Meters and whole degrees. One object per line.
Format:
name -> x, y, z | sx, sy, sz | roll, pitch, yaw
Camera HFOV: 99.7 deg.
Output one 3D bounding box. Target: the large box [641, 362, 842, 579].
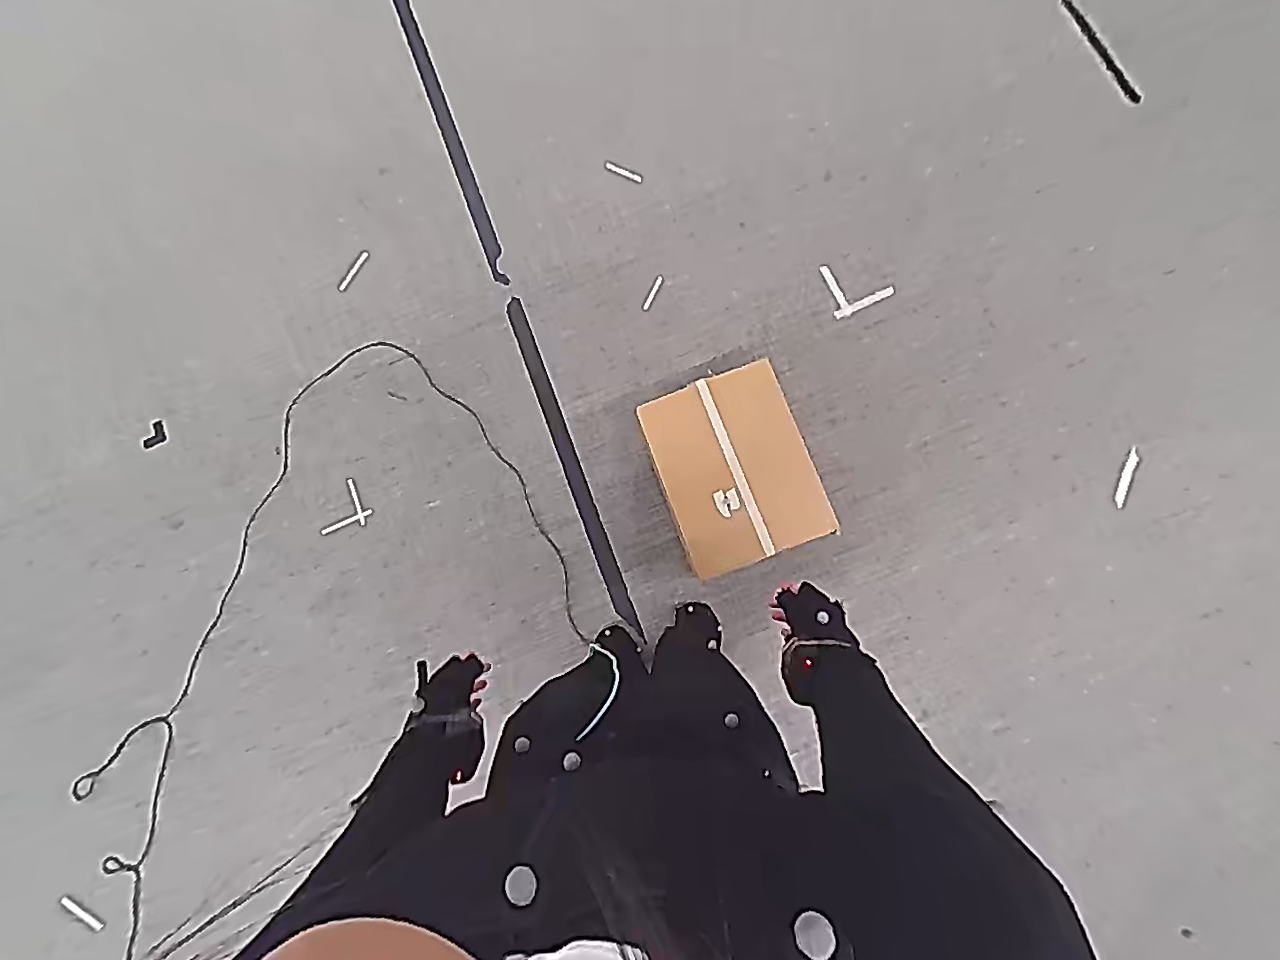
large box -> 0.220, -0.006, 1.306 | 0.320, 0.320, 0.408 | -21, 81, 2
